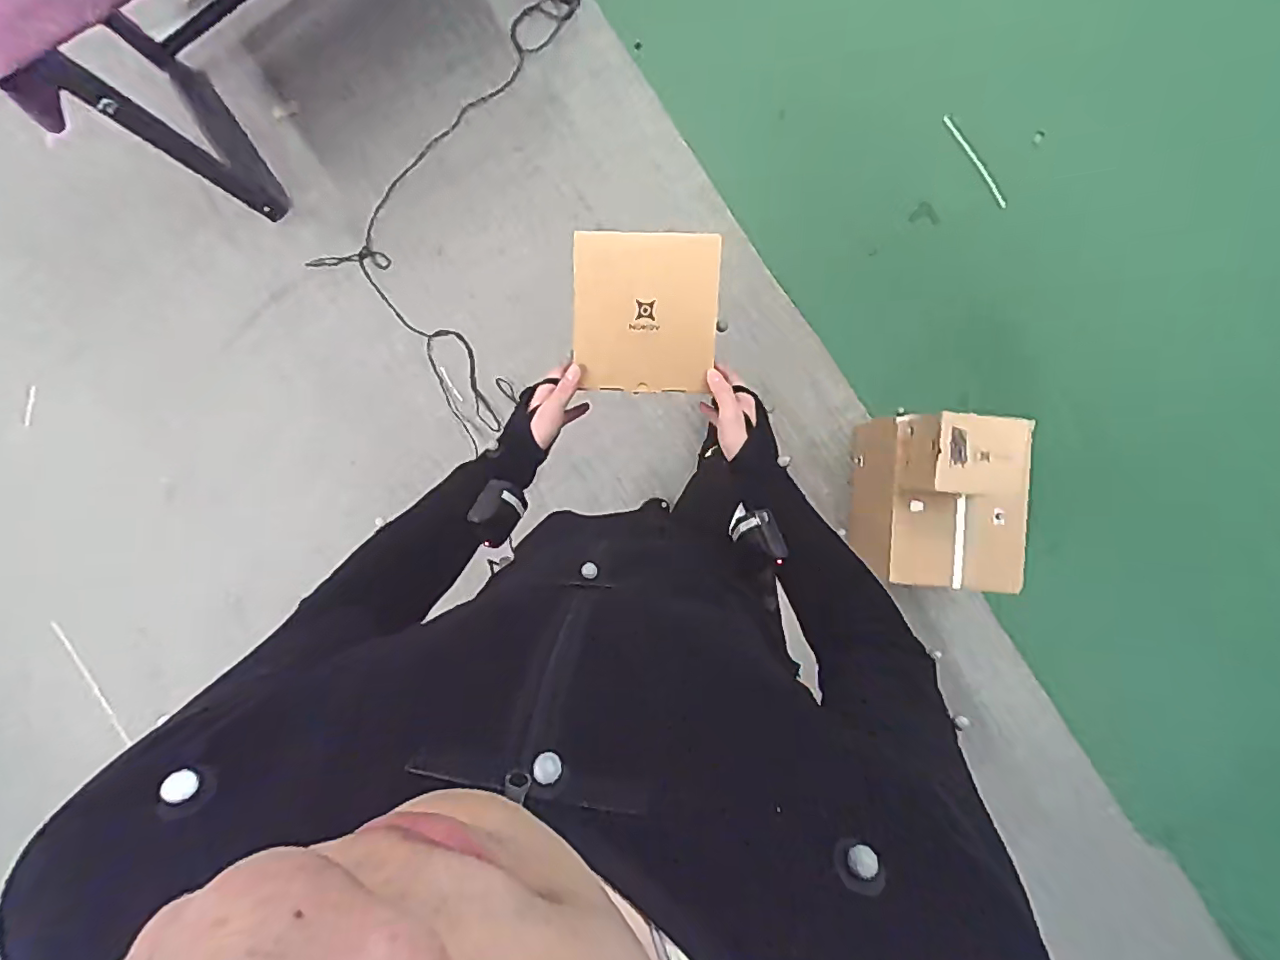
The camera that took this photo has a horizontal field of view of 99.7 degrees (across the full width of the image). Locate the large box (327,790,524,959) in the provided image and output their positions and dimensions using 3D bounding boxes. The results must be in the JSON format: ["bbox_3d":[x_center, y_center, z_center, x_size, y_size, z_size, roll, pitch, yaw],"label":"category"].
[{"bbox_3d":[-0.582,1.136,1.530,0.408,0.320,0.320,-9,91,2],"label":"large box"}]

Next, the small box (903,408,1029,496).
[{"bbox_3d":[0.704,-0.059,1.188,0.179,0.176,0.168,6,92,3],"label":"small box"}]

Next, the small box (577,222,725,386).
[{"bbox_3d":[0.011,-0.216,0.687,0.168,0.176,0.179,1,106,1],"label":"small box"}]
